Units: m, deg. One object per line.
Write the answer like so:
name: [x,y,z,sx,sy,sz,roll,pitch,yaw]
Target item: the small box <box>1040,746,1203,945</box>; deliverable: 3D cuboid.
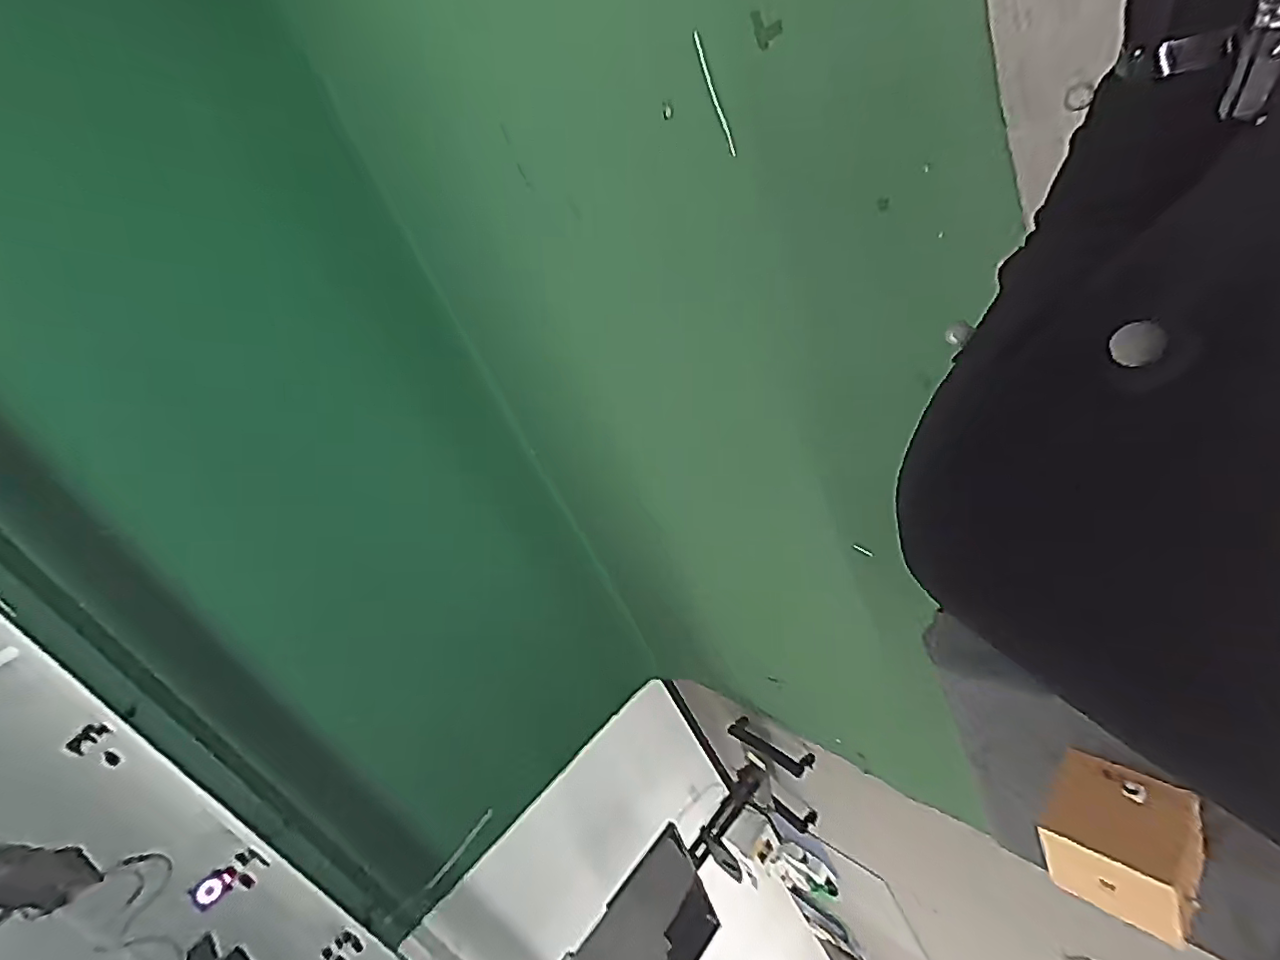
small box: [0.793,0.585,0.887,0.168,0.176,0.179,2,125,53]
